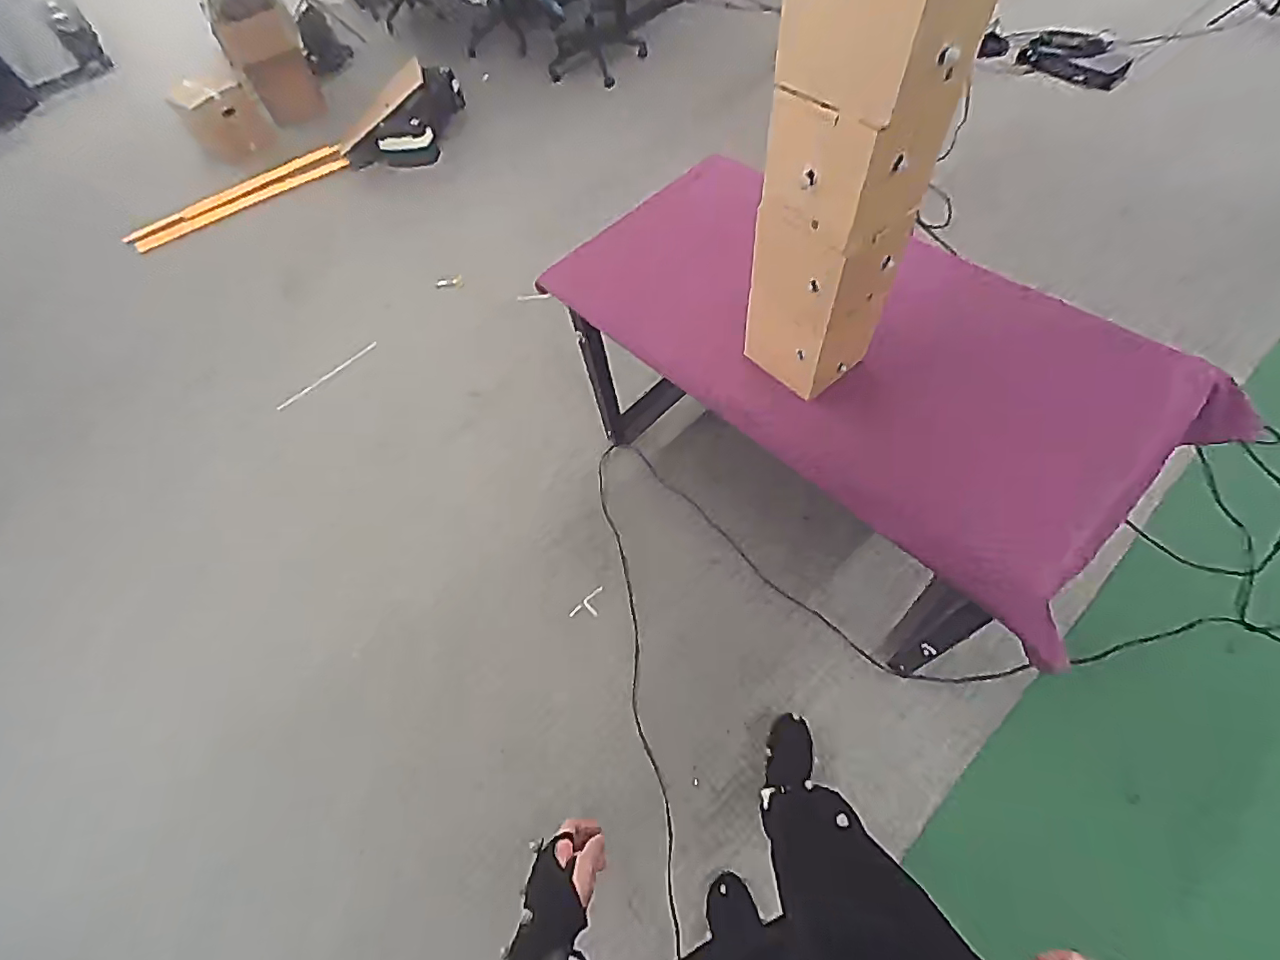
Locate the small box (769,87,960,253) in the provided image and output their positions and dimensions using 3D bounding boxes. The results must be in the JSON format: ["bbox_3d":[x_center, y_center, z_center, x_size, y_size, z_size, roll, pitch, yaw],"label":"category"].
[{"bbox_3d":[0.296,-0.453,0.755,0.179,0.176,0.168,-37,63,-14],"label":"small box"}]

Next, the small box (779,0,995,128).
[{"bbox_3d":[0.280,-0.539,0.615,0.168,0.176,0.179,-39,63,-16],"label":"small box"}]

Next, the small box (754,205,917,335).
[{"bbox_3d":[0.309,-0.367,0.893,0.168,0.176,0.179,-37,62,-14],"label":"small box"}]
